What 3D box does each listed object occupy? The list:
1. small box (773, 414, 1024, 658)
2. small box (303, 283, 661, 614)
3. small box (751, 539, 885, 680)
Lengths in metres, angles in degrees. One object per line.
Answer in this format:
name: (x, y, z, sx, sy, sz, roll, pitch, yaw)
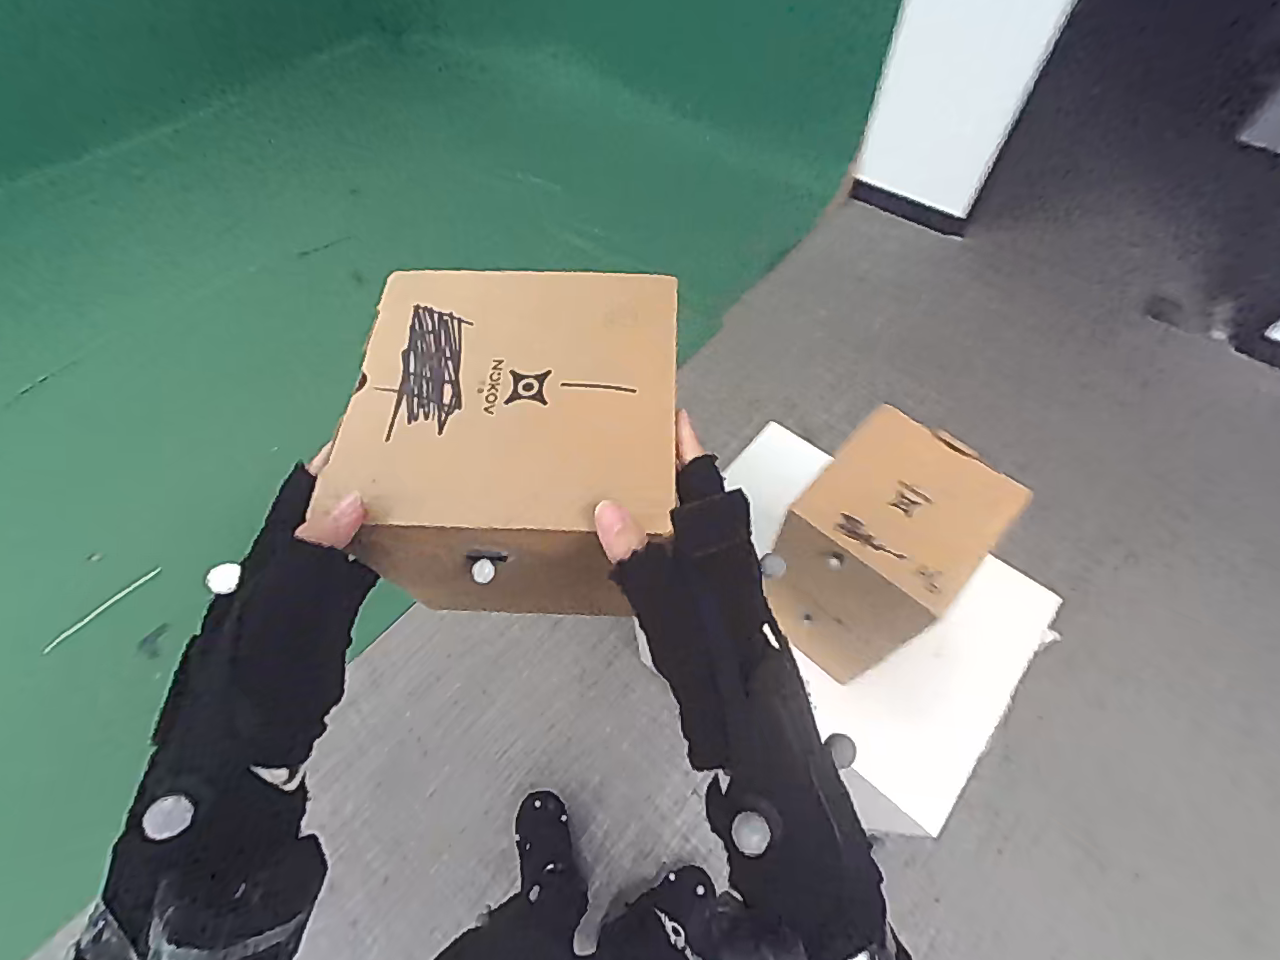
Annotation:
small box: (0.268, 0.068, 0.603, 0.168, 0.176, 0.179, 37, 69, 21)
small box: (-0.075, -0.010, 0.368, 0.179, 0.176, 0.168, 1, 63, 1)
small box: (0.273, 0.148, 0.743, 0.179, 0.176, 0.168, 38, 69, 22)
